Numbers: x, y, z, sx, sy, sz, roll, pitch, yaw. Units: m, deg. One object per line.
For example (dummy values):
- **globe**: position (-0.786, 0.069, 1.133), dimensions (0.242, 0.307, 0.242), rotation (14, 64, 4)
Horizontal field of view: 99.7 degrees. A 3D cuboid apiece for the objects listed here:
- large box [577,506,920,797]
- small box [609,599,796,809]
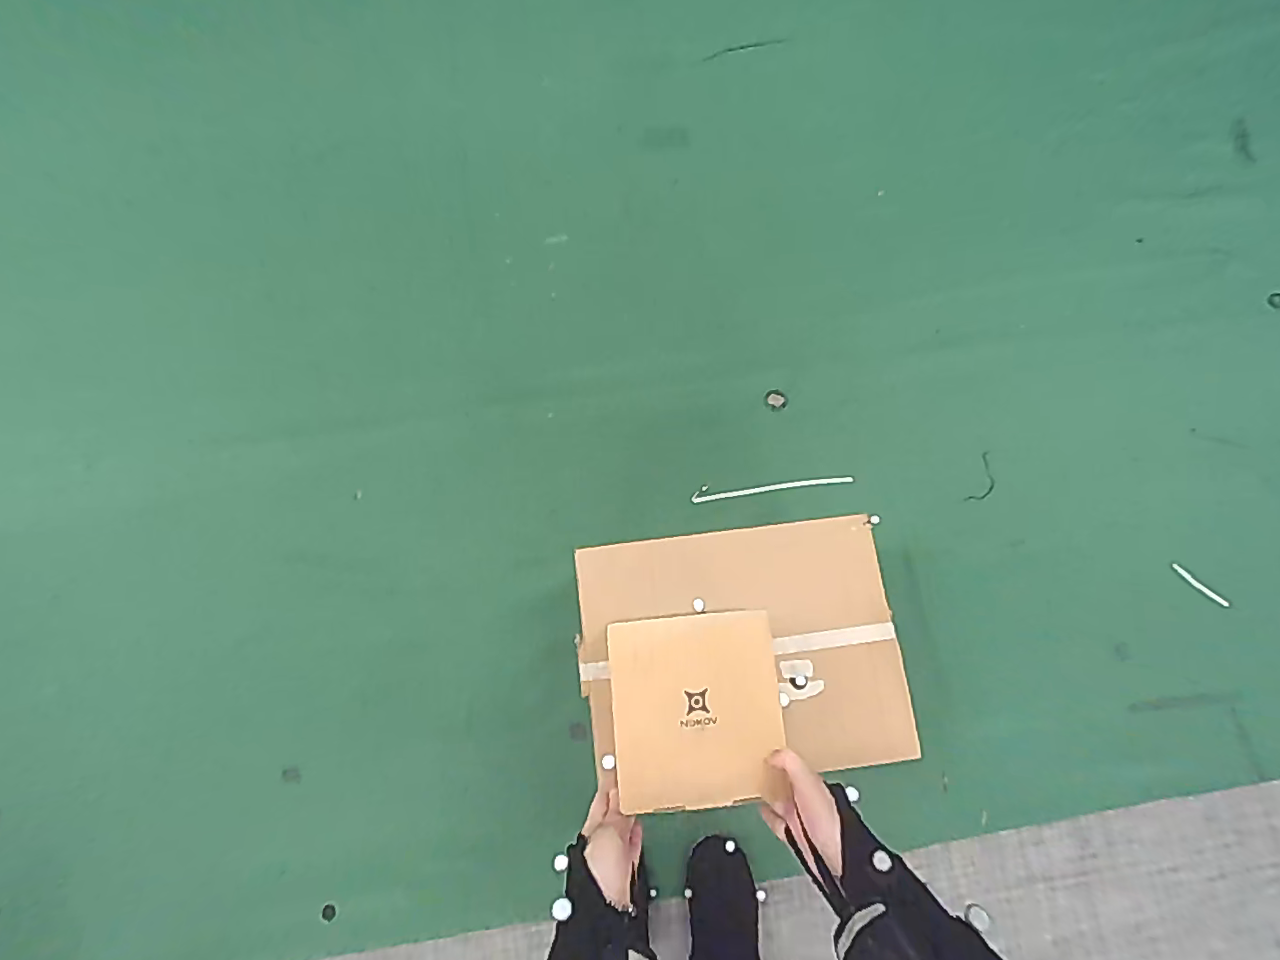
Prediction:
- **large box**: position (0.129, 0.243, 0.837), dimensions (0.408, 0.320, 0.320), rotation (-7, 78, -3)
- **small box**: position (0.054, 0.228, 0.591), dimensions (0.168, 0.176, 0.179), rotation (-5, 77, -2)
